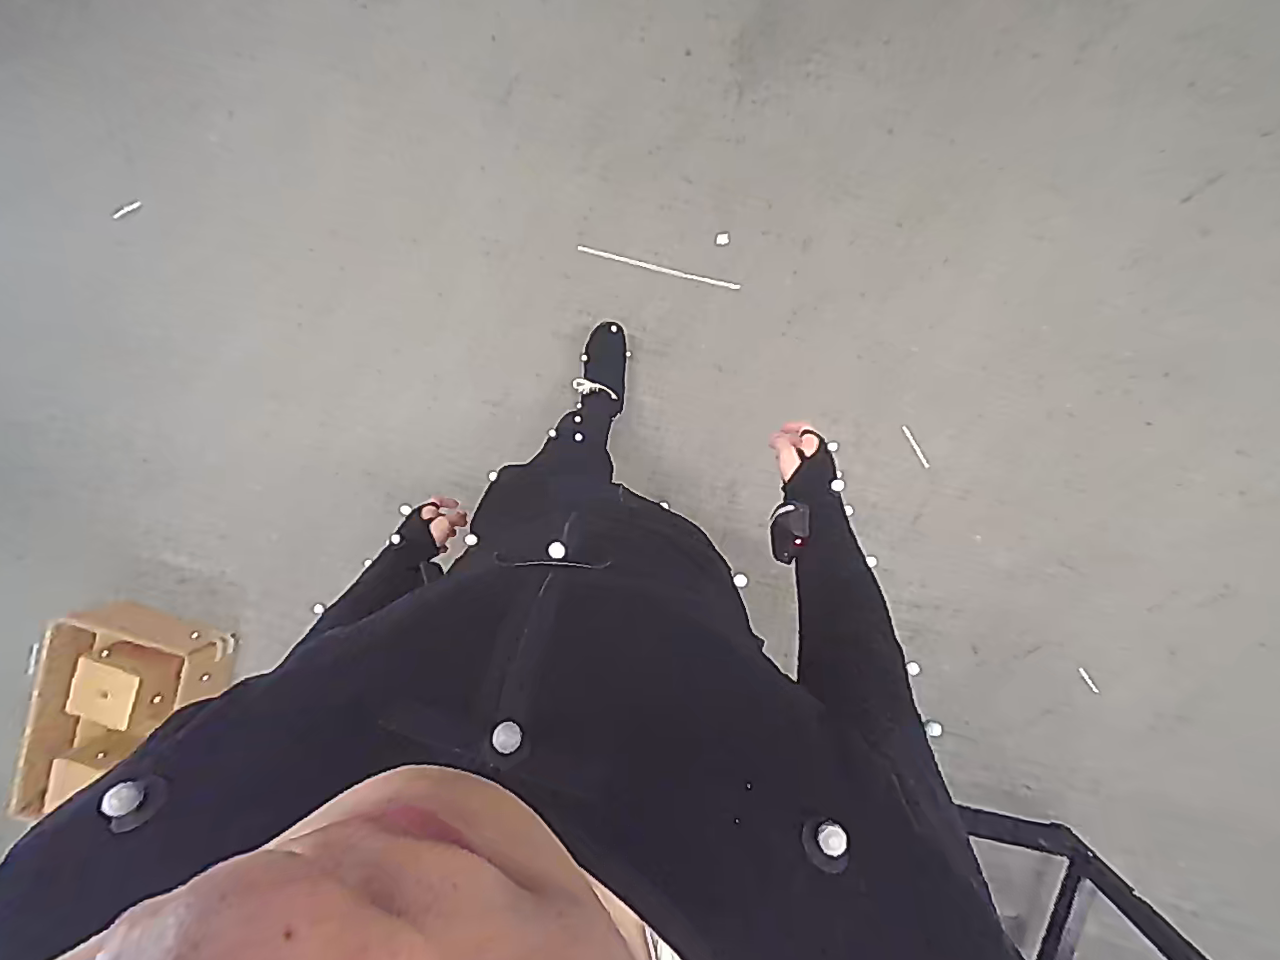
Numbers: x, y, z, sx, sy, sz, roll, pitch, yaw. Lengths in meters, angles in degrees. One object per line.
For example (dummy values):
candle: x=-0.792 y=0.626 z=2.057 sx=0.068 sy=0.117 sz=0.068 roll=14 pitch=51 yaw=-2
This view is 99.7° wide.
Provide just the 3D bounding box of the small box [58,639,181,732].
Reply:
small box: x=-1.469 y=0.576 z=1.538 sx=0.179 sy=0.176 sz=0.168 roll=20 pitch=95 yaw=0

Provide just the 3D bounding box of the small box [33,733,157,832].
small box: x=-1.559 y=0.862 z=1.558 sx=0.179 sy=0.176 sz=0.168 roll=16 pitch=93 yaw=0
